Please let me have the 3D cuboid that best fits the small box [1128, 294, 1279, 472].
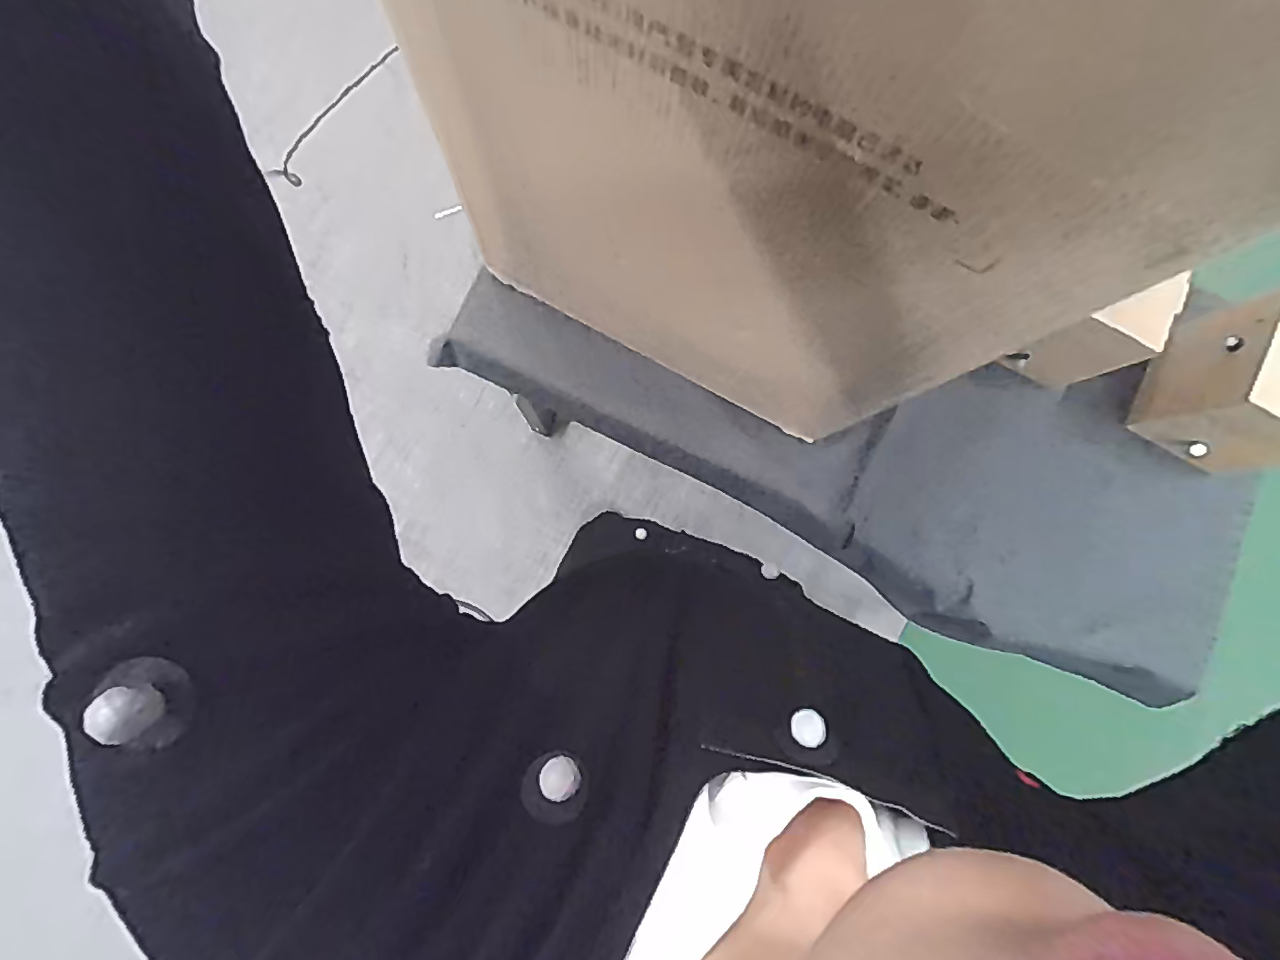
[{"bbox_3d":[0.864,-0.129,0.772,0.168,0.176,0.179,29,83,-1],"label":"small box"}]
